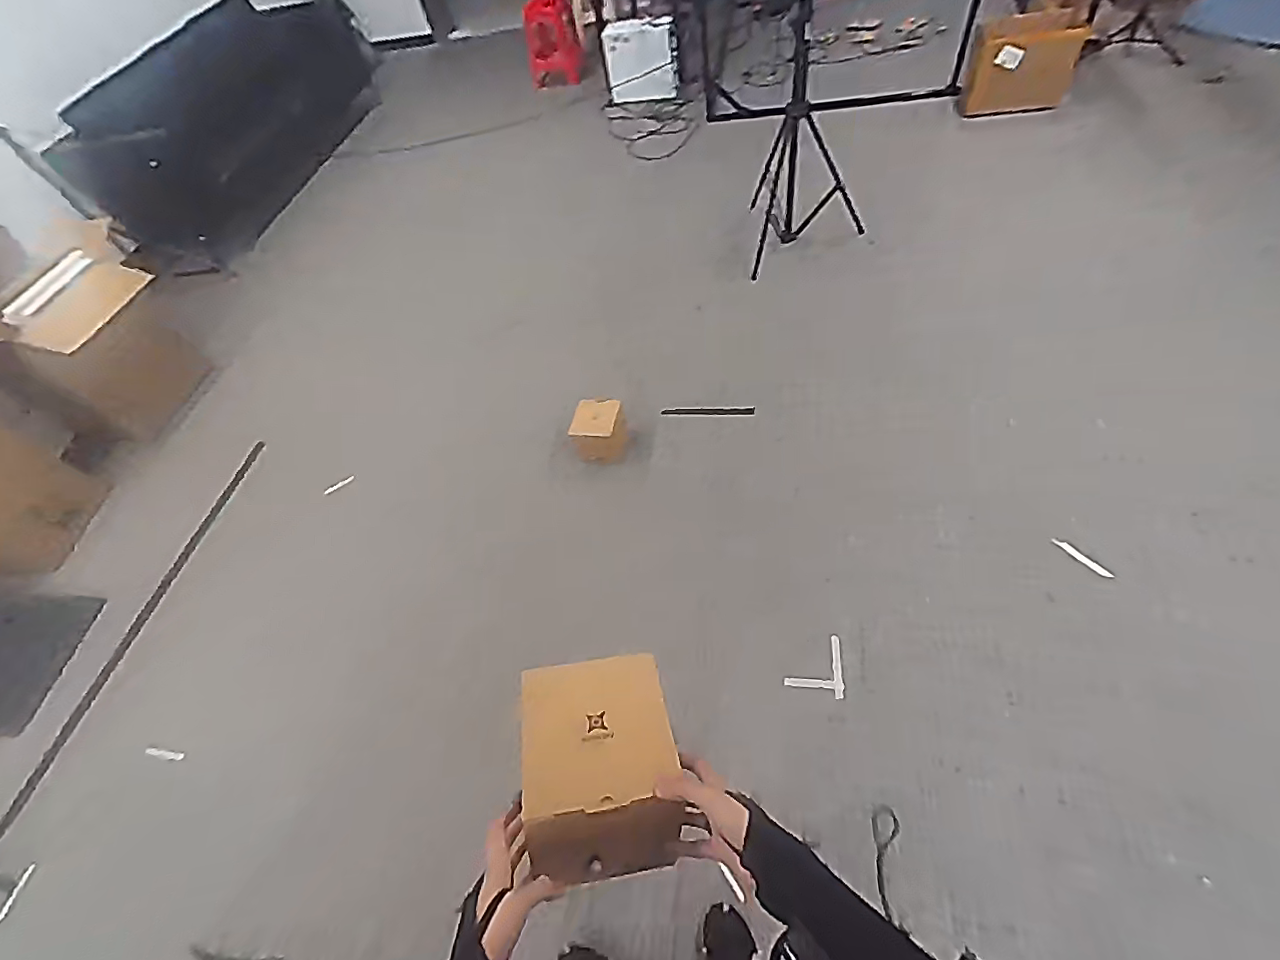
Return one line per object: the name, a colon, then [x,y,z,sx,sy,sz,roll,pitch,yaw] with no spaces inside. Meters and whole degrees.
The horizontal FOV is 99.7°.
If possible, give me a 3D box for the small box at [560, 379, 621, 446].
small box: [-0.175,-0.250,1.994,0.168,0.176,0.179,4,57,15]
